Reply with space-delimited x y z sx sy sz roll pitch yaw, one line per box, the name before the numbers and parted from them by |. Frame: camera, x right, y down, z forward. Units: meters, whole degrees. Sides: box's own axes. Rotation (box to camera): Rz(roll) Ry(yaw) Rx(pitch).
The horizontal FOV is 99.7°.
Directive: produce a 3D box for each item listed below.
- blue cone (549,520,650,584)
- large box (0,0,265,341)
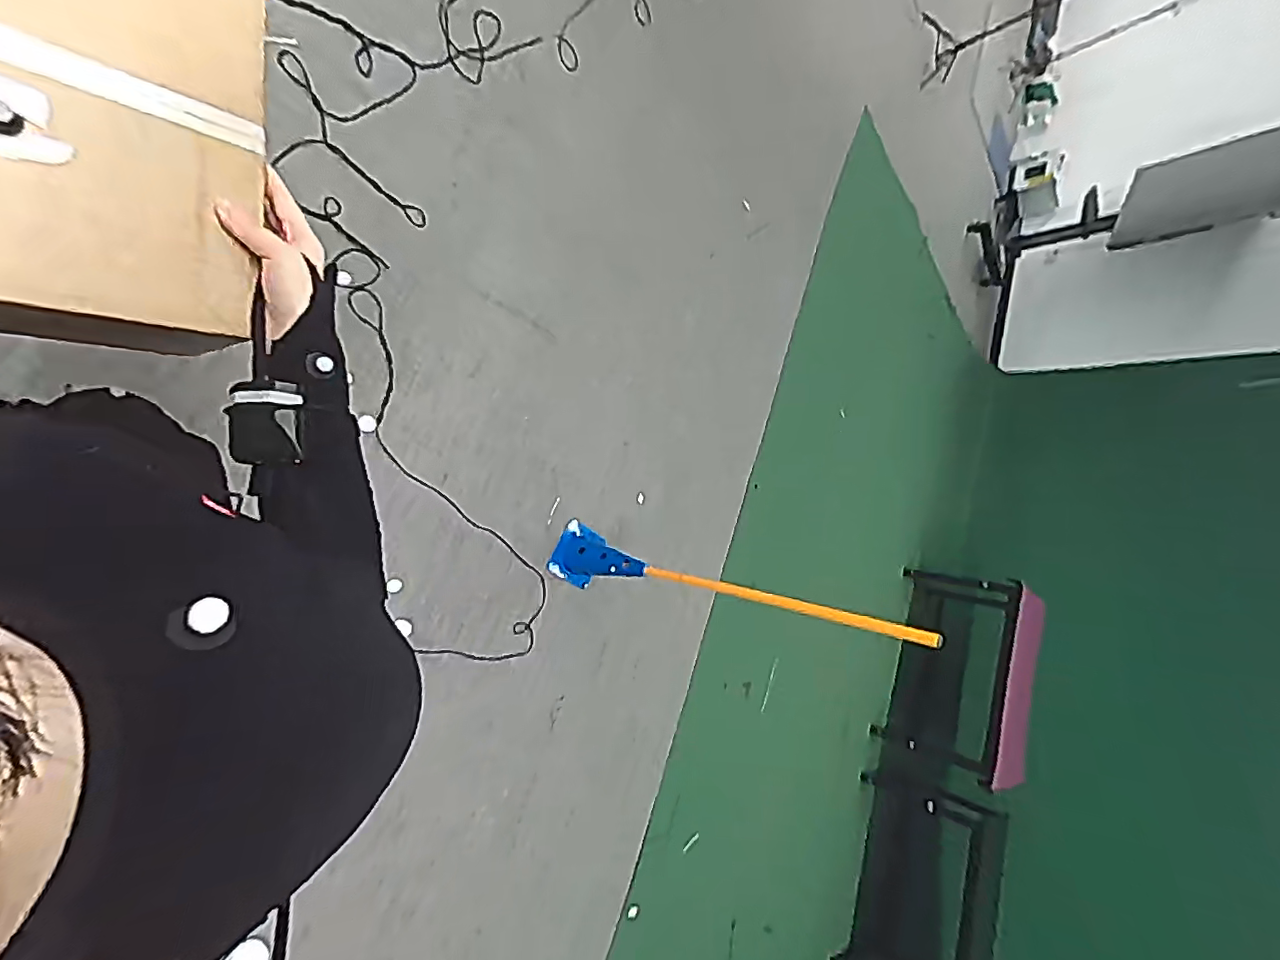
blue cone | -0.117 0.265 1.816 0.192 0.380 0.193 42 65 -38
large box | -0.552 -0.296 0.392 0.408 0.320 0.320 0 98 -48
